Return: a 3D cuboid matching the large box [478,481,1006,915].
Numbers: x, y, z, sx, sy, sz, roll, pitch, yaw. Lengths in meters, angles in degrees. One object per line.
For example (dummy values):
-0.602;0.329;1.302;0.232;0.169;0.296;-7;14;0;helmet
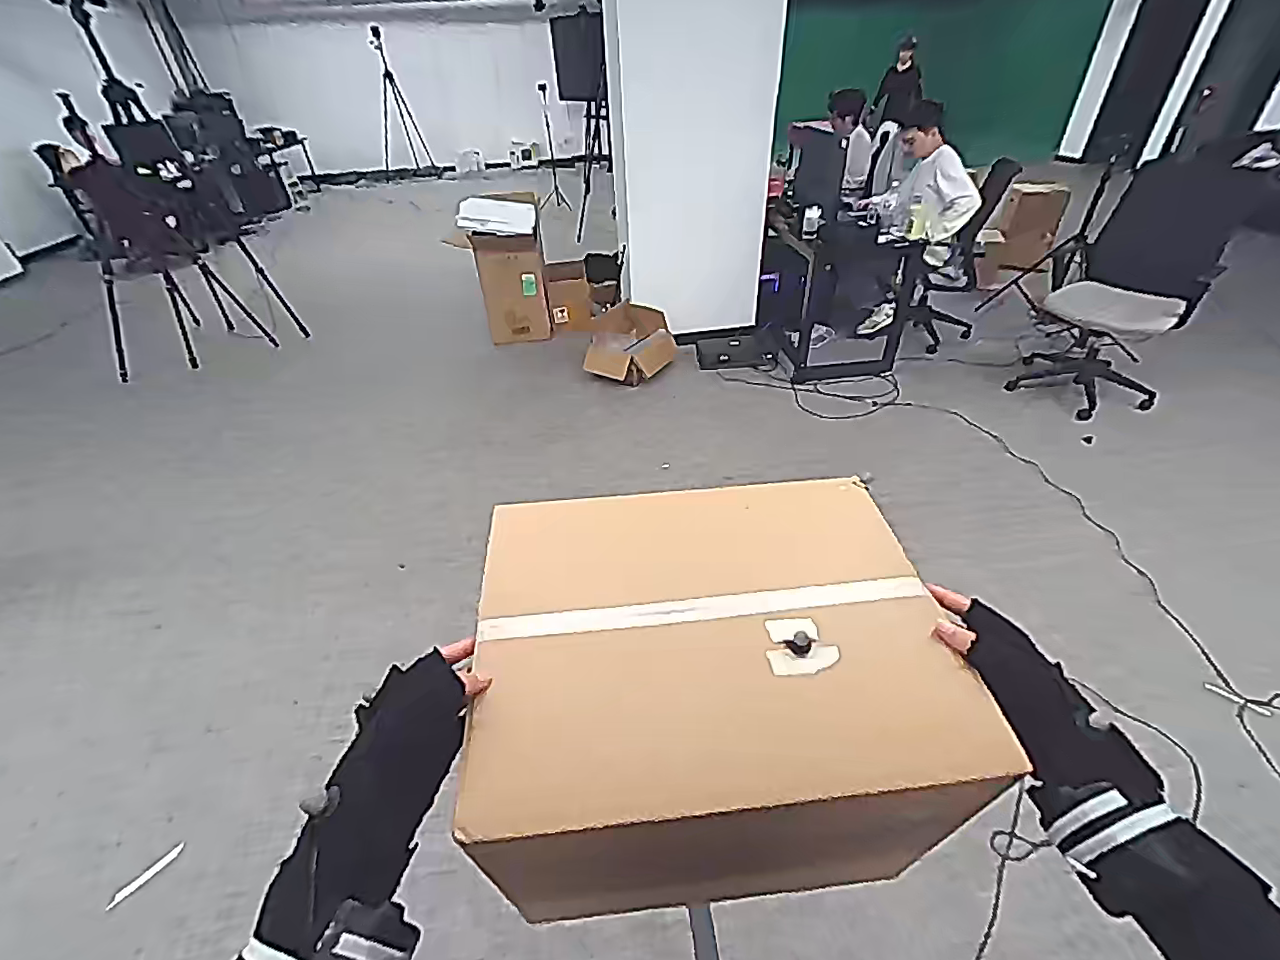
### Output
0.065;0.231;0.597;0.408;0.320;0.320;-5;43;-4;large box
